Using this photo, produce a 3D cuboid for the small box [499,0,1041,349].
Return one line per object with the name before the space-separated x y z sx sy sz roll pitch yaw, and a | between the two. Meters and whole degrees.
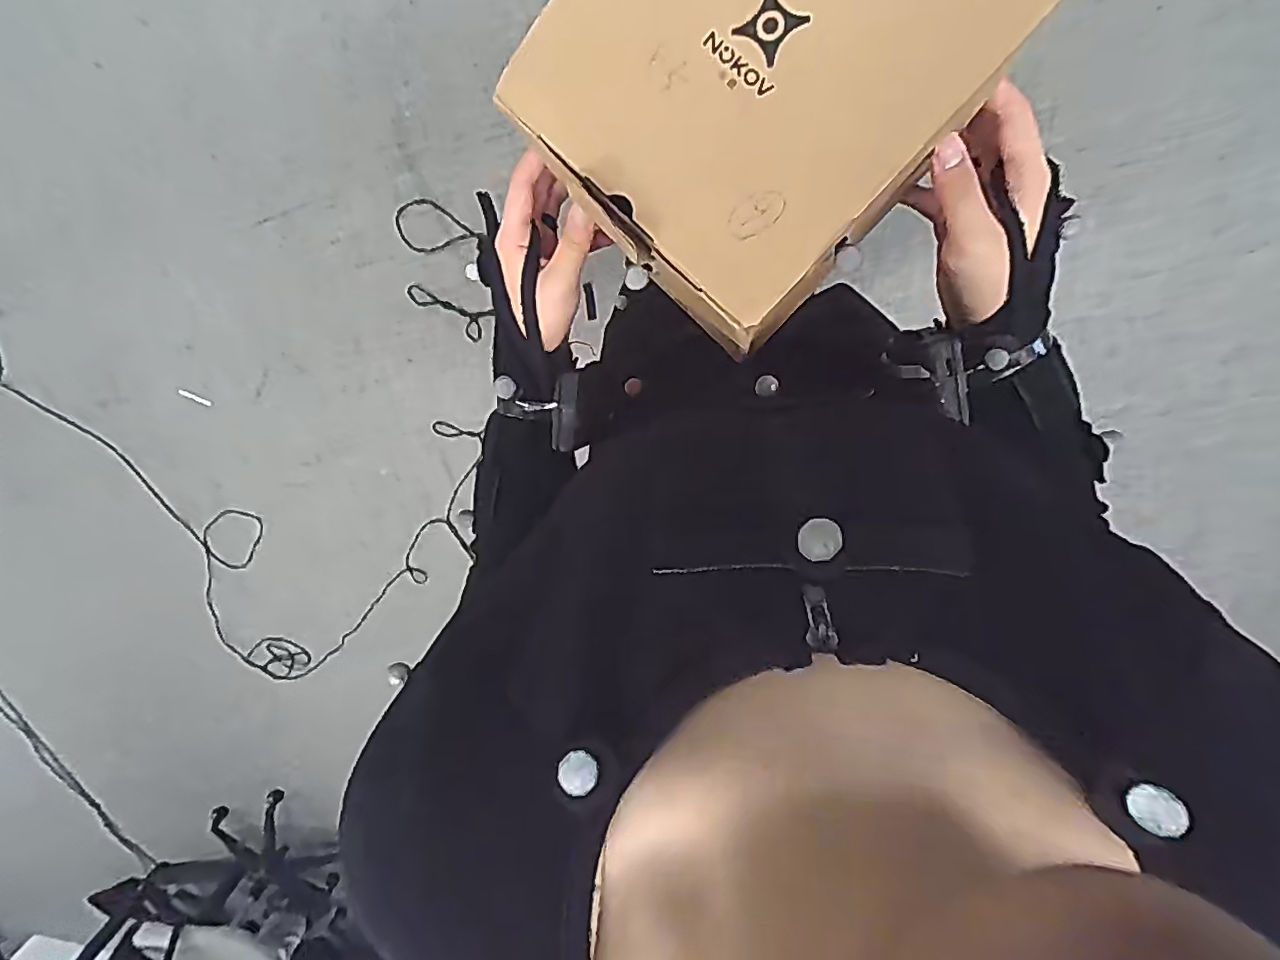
small box | 0.061 -0.195 0.312 0.168 0.176 0.179 44 104 2
